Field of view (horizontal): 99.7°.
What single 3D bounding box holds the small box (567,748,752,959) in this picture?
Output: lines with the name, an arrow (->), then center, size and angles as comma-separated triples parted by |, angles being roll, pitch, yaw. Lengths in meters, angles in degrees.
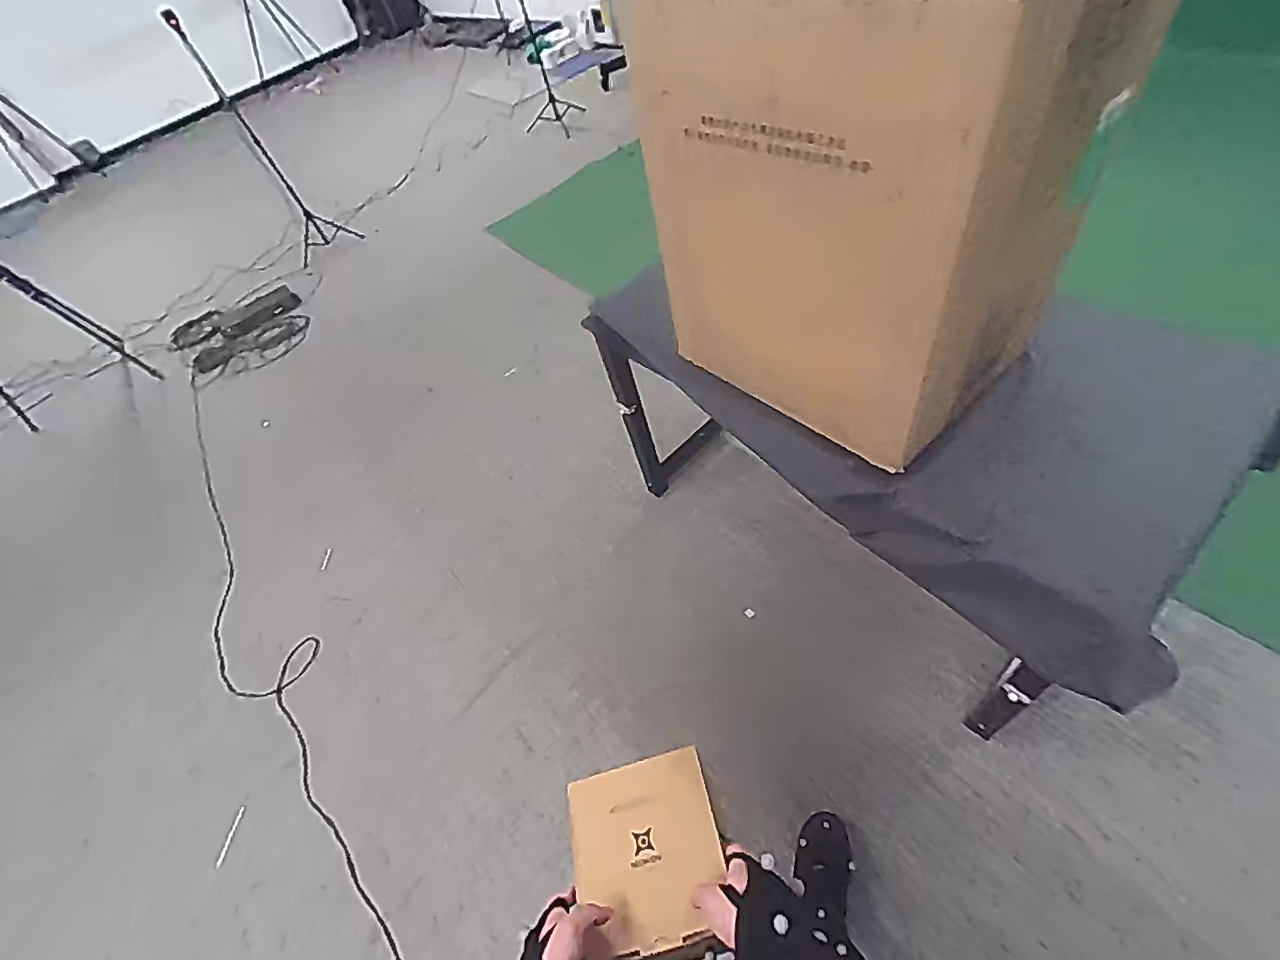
small box -> 0.024, 0.462, 0.647 | 0.168, 0.176, 0.179 | -18, 40, 0
